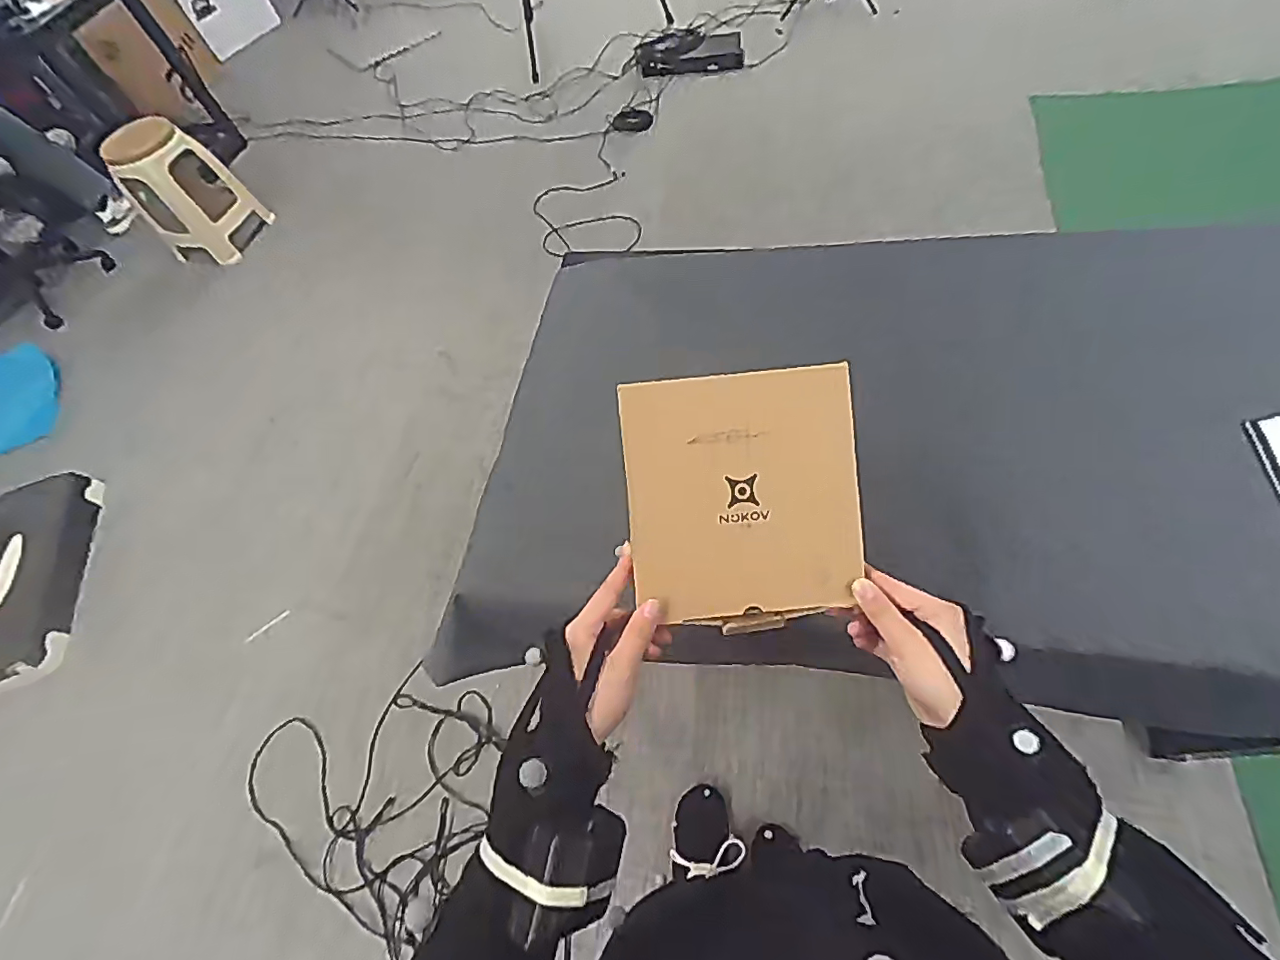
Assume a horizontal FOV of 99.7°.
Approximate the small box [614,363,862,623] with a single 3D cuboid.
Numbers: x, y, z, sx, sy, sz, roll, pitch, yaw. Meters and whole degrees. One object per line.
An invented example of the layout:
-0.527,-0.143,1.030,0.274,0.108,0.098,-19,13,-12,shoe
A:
0.070,0.008,0.463,0.168,0.176,0.179,-6,90,-1,small box
